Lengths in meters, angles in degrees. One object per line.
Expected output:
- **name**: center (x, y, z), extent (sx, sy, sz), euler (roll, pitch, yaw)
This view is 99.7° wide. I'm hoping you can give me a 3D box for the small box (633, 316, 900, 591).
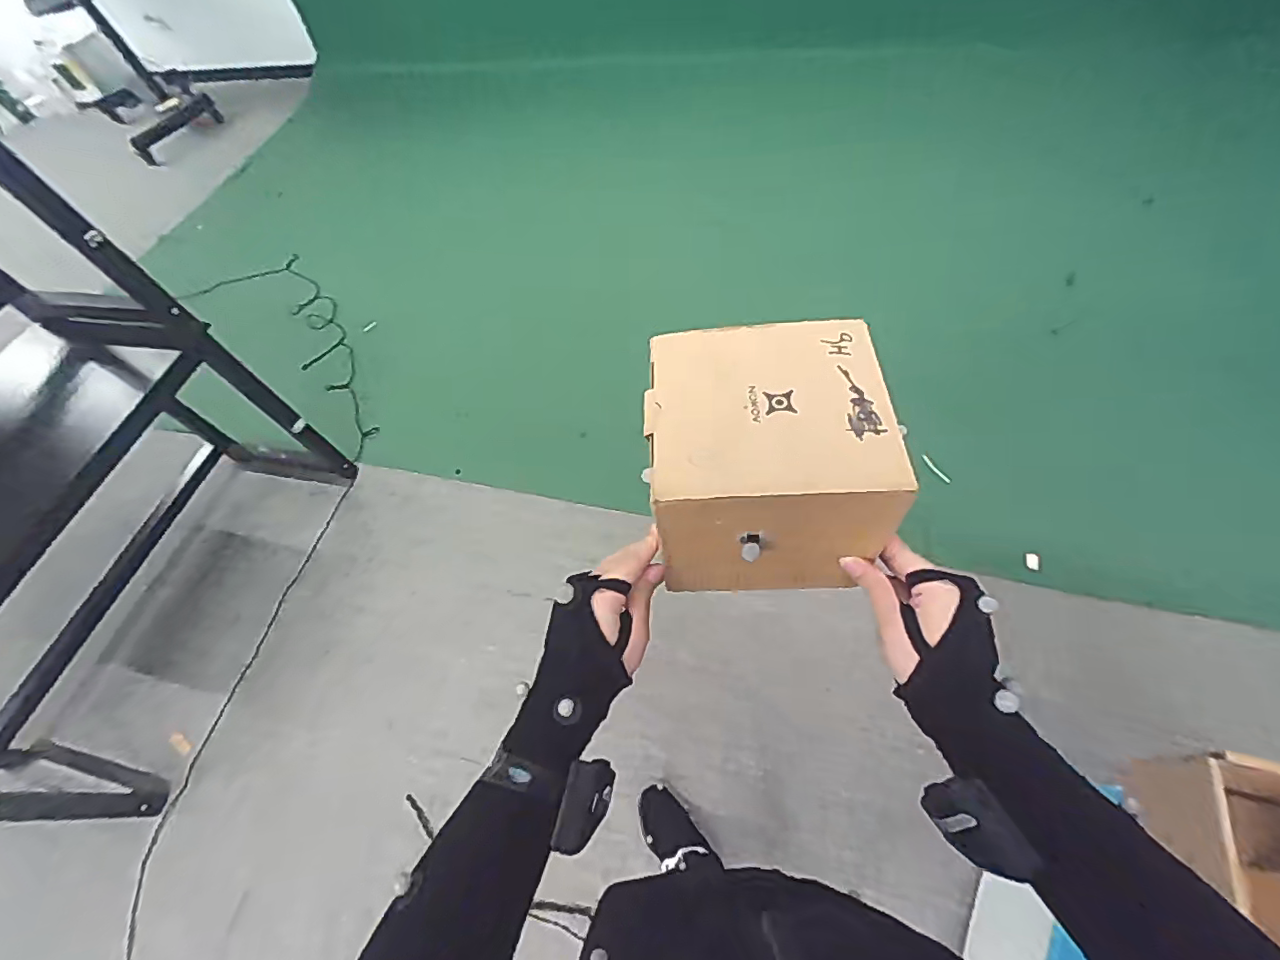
- **small box**: center (0.094, -0.013, 0.463), extent (0.179, 0.176, 0.168), euler (-4, 56, 6)
